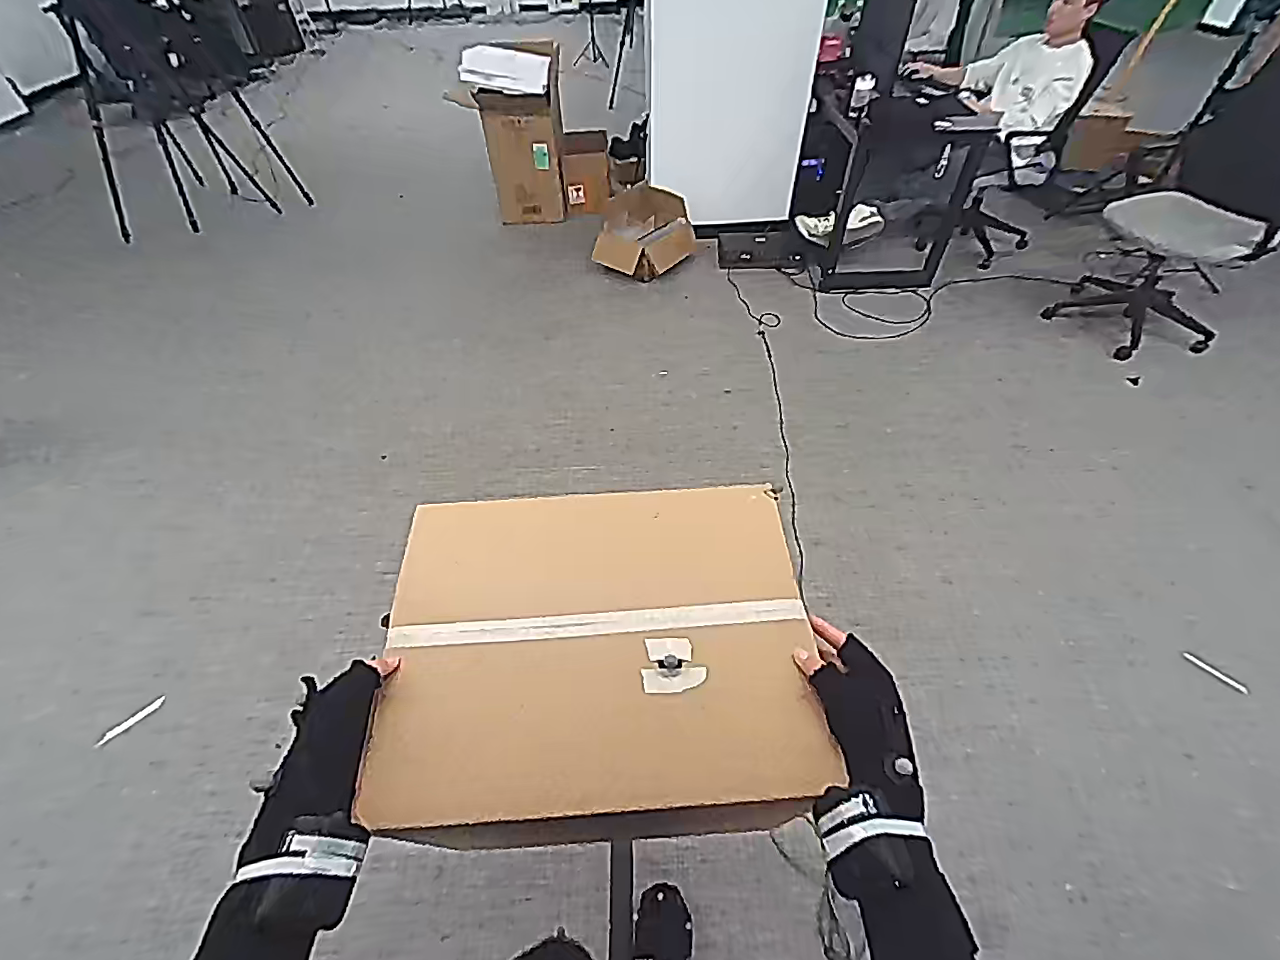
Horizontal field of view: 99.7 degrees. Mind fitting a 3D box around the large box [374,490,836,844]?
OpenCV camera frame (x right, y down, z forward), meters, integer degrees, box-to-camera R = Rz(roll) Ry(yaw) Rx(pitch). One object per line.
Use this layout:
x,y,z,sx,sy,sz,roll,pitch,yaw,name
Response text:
-0.038,0.235,0.663,0.408,0.320,0.320,-3,54,-2,large box
